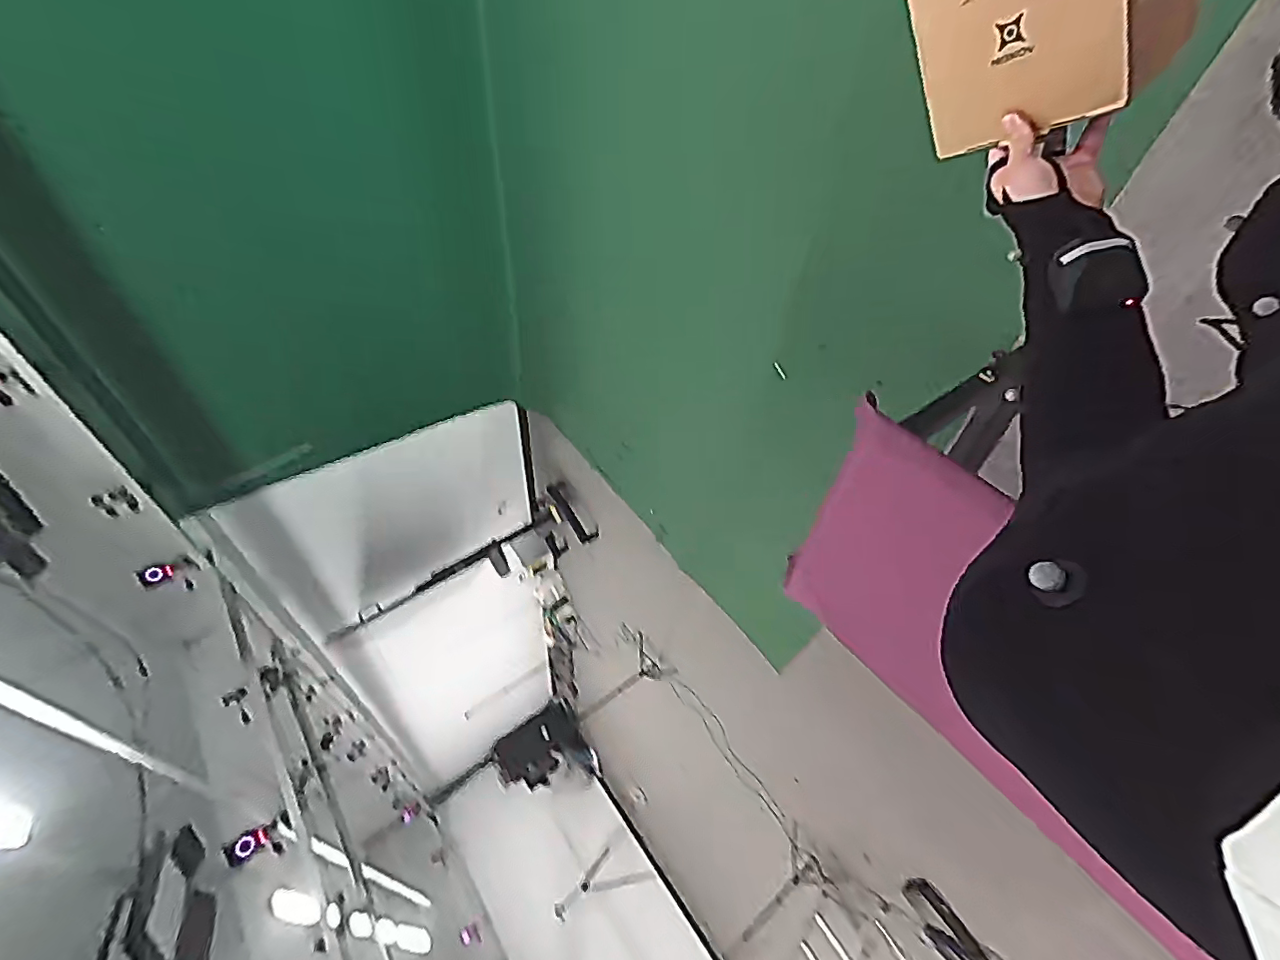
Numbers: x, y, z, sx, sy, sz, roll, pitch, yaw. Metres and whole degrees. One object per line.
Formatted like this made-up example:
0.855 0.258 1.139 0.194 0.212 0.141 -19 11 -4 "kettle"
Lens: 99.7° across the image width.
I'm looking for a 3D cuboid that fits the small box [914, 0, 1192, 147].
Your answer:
0.392 -0.464 0.513 0.168 0.176 0.179 19 148 52 "small box"
